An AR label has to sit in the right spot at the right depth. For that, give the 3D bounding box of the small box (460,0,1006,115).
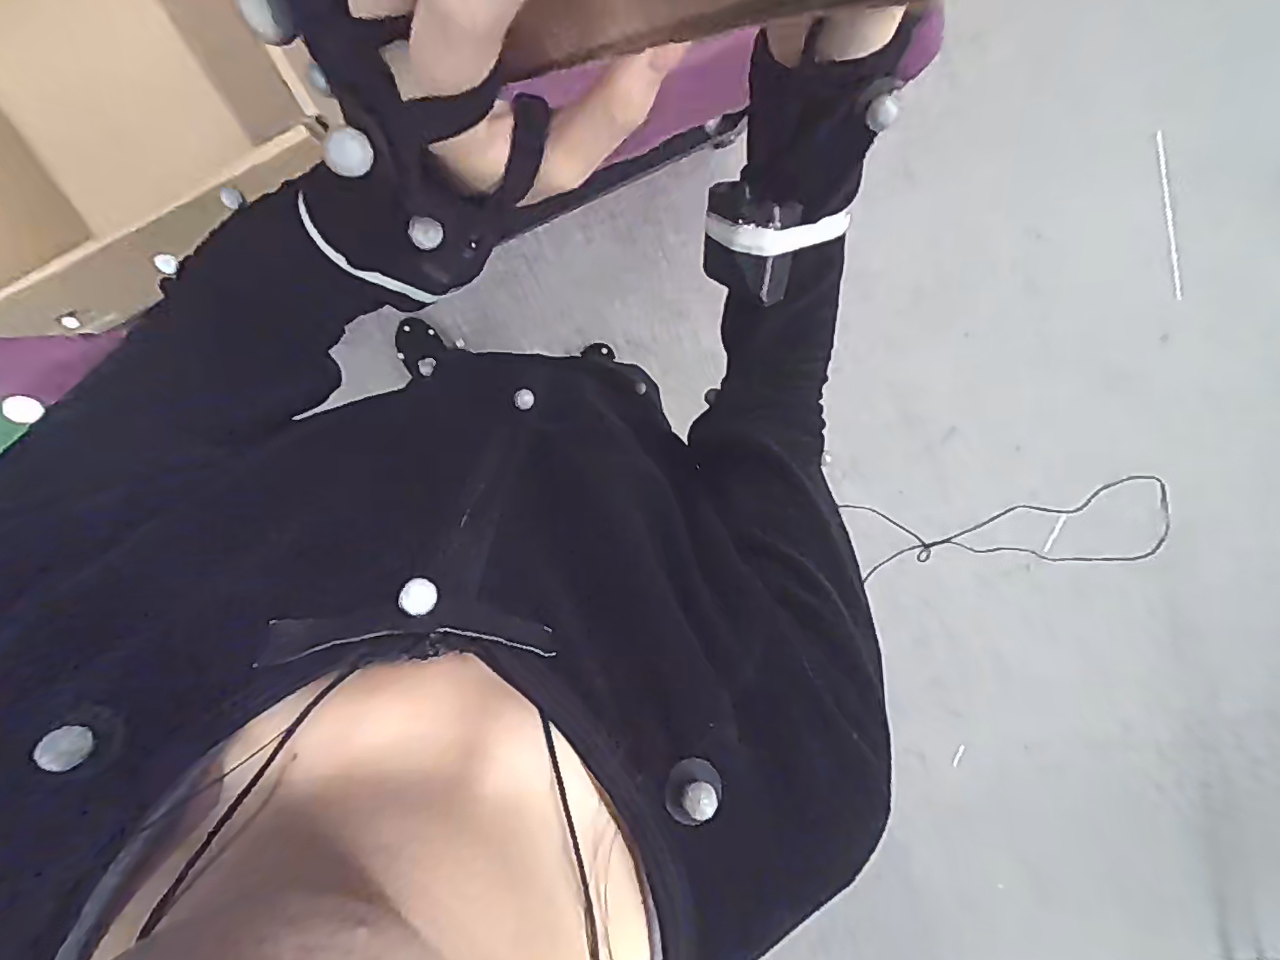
[{"bbox_3d":[0.027,-0.205,0.102,0.168,0.179,0.176,-40,134,-15],"label":"small box"}]
